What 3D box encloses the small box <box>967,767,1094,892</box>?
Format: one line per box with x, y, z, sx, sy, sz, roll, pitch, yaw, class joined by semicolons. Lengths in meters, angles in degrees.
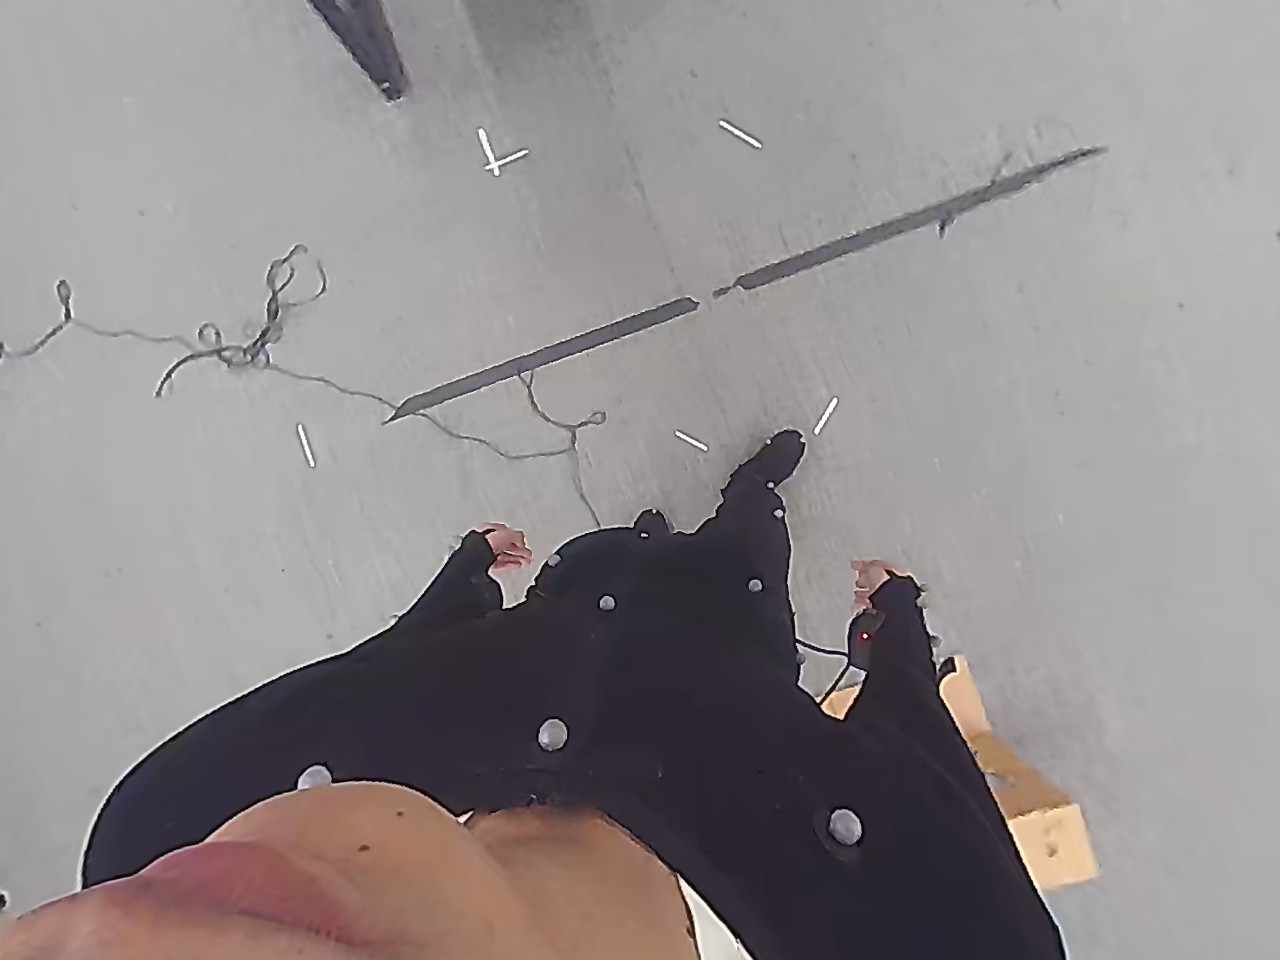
0.929;0.831;1.300;0.168;0.176;0.179;-16;90;4;small box

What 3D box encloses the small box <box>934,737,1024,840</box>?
0.931;0.823;1.466;0.168;0.176;0.179;-17;89;5;small box
